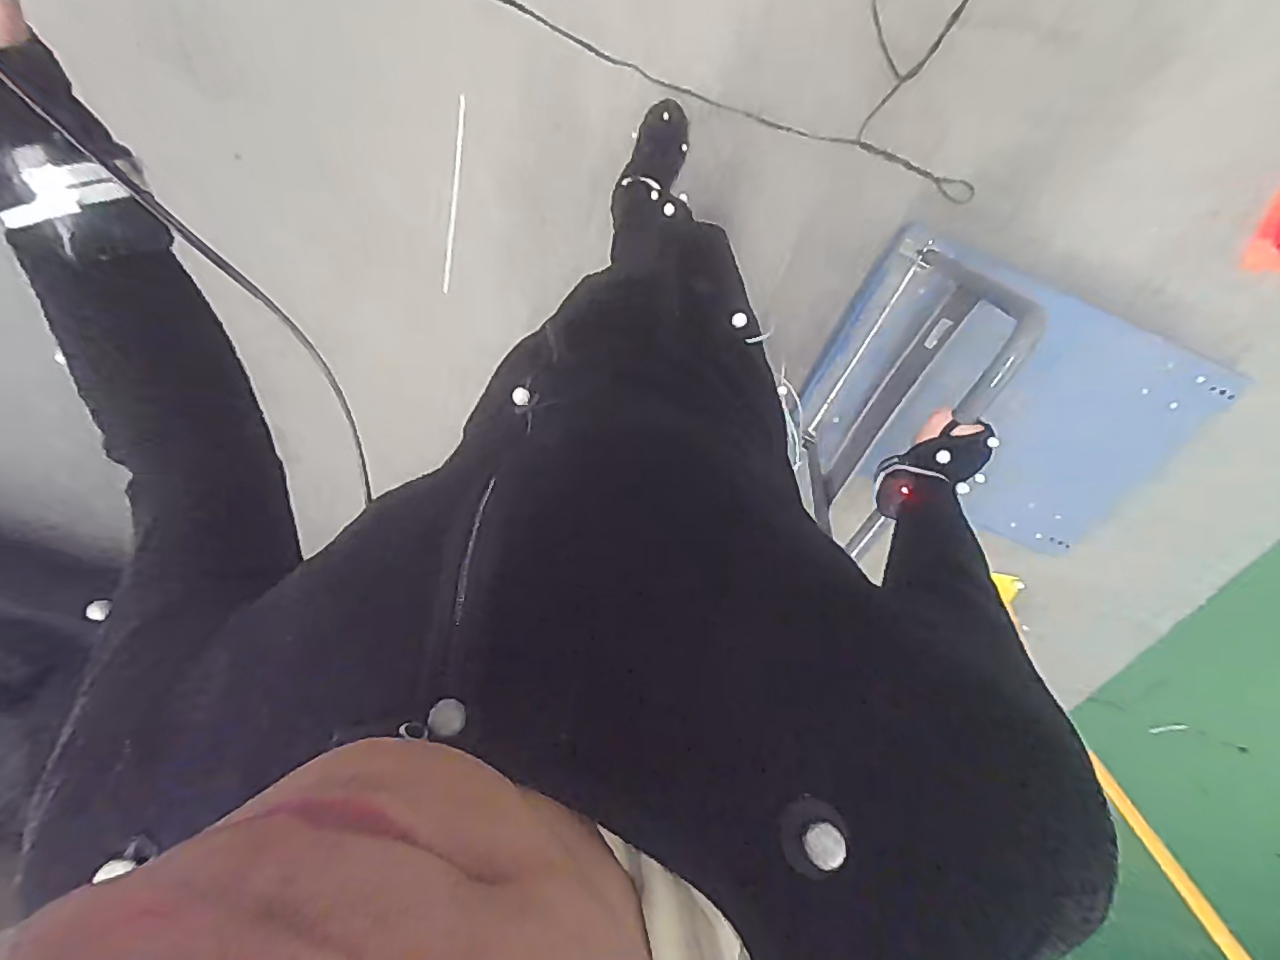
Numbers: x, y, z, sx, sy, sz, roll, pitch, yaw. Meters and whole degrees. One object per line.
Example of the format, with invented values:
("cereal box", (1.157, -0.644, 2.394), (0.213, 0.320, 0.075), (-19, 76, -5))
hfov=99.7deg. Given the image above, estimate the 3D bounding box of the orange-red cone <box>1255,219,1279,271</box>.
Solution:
("orange-red cone", (1.464, -0.468, 1.024), (0.198, 0.360, 0.199), (6, 120, 5))
